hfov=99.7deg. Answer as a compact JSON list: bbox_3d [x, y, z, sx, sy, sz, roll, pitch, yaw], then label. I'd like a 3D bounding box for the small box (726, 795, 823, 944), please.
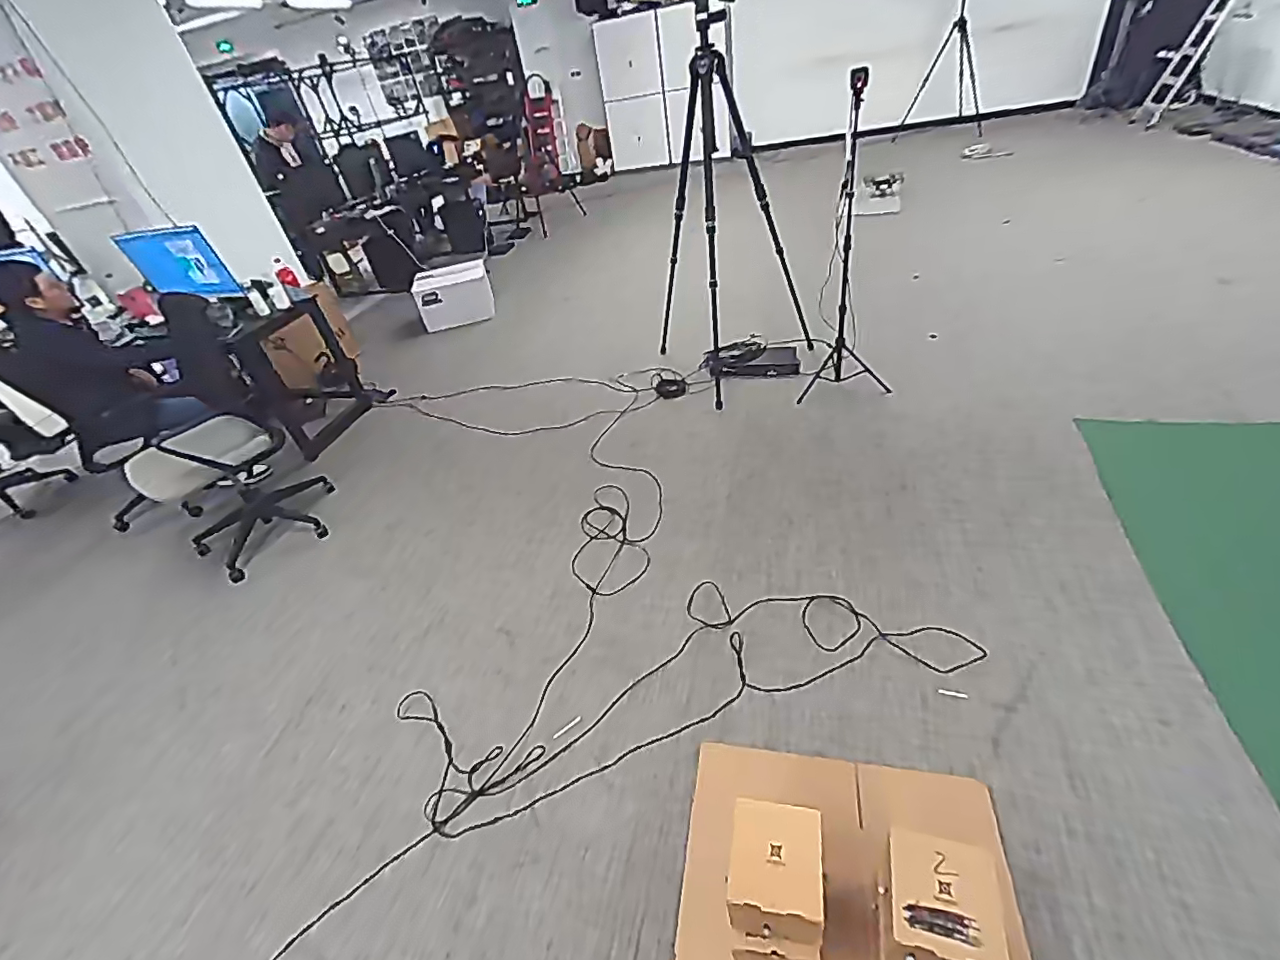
[{"bbox_3d":[0.260,0.746,1.040,0.168,0.176,0.179,1,40,16],"label":"small box"}]

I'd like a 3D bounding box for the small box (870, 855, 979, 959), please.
[{"bbox_3d":[0.548,0.884,1.060,0.168,0.176,0.179,3,41,20],"label":"small box"}]

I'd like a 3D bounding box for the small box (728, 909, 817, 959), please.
[{"bbox_3d":[0.276,0.890,1.121,0.168,0.176,0.179,-1,39,14],"label":"small box"}]
